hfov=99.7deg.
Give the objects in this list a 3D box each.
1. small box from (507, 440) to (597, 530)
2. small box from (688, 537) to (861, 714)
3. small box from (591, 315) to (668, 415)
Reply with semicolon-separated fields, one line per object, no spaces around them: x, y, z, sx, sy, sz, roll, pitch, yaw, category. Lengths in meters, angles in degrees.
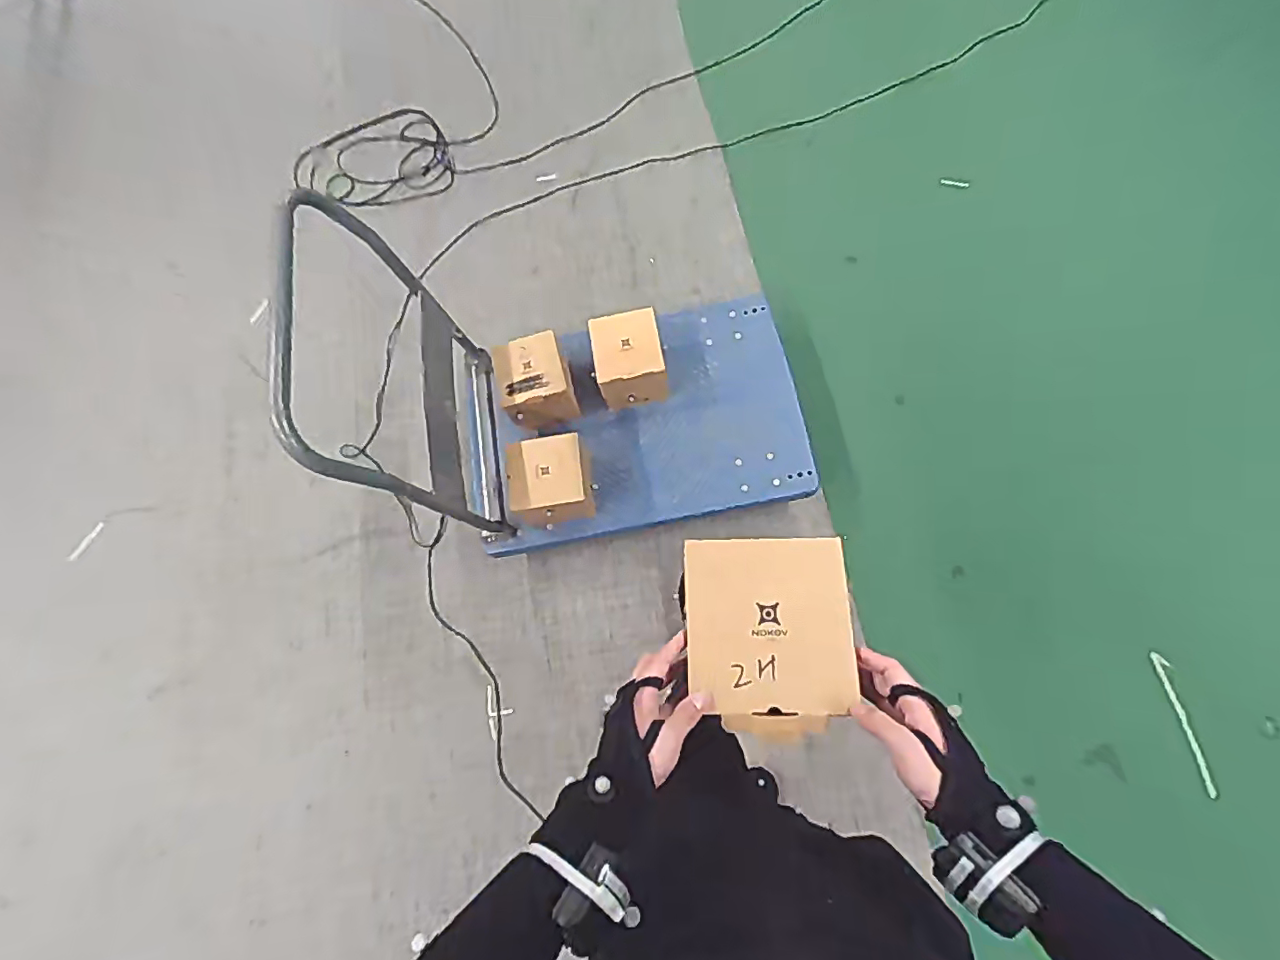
-0.209;0.018;1.309;0.179;0.176;0.168;-8;73;3;small box
0.139;0.171;0.626;0.168;0.176;0.179;-2;70;5;small box
-0.024;-0.289;1.384;0.168;0.176;0.179;-11;74;2;small box
